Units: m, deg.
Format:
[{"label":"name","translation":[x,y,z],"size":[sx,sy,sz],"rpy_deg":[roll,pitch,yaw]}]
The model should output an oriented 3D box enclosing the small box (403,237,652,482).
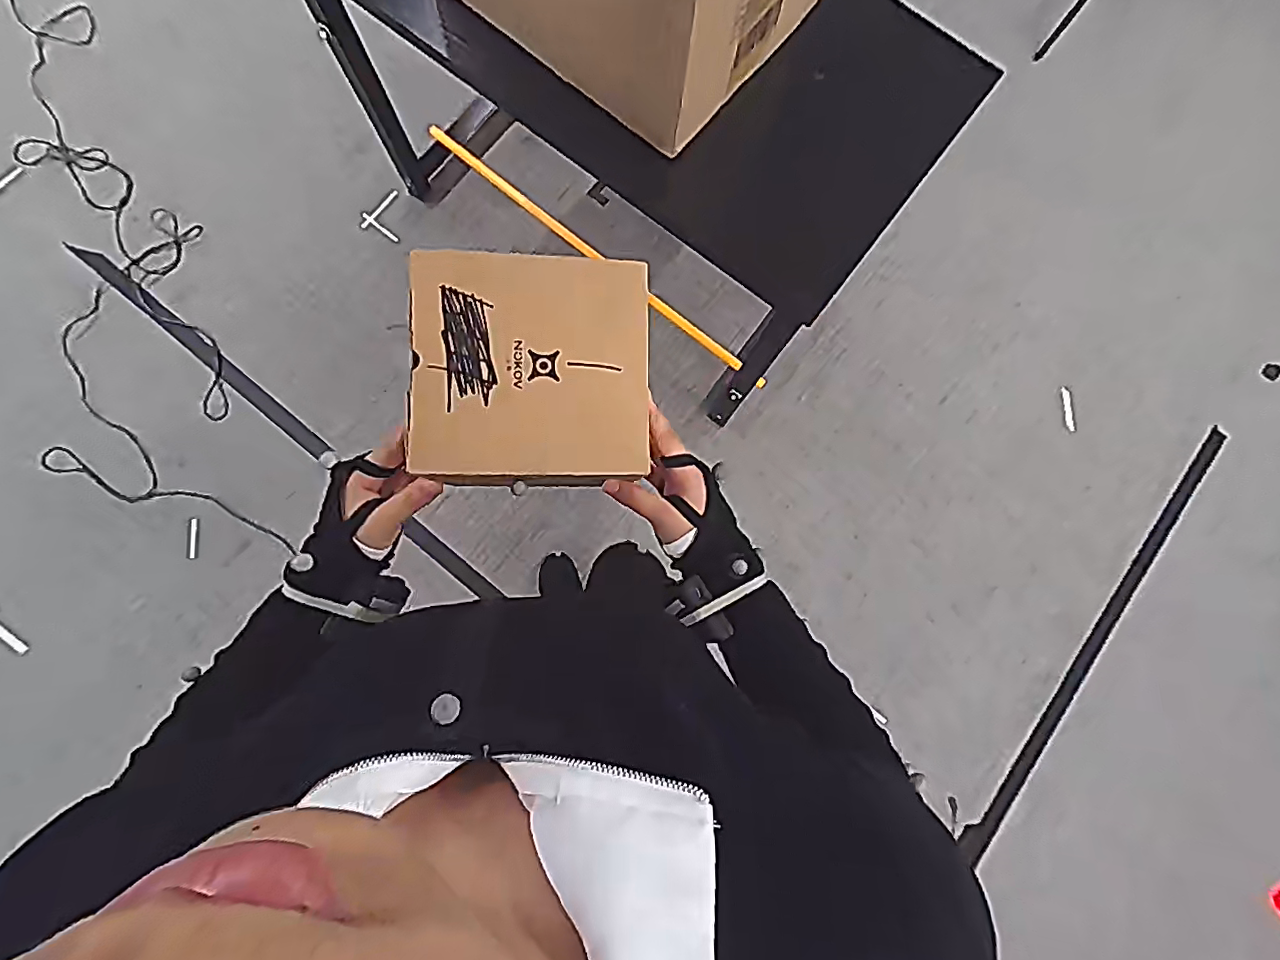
[{"label":"small box","translation":[-0.088,-0.085,0.468],"size":[0.179,0.176,0.168],"rpy_deg":[1,86,-9]}]
